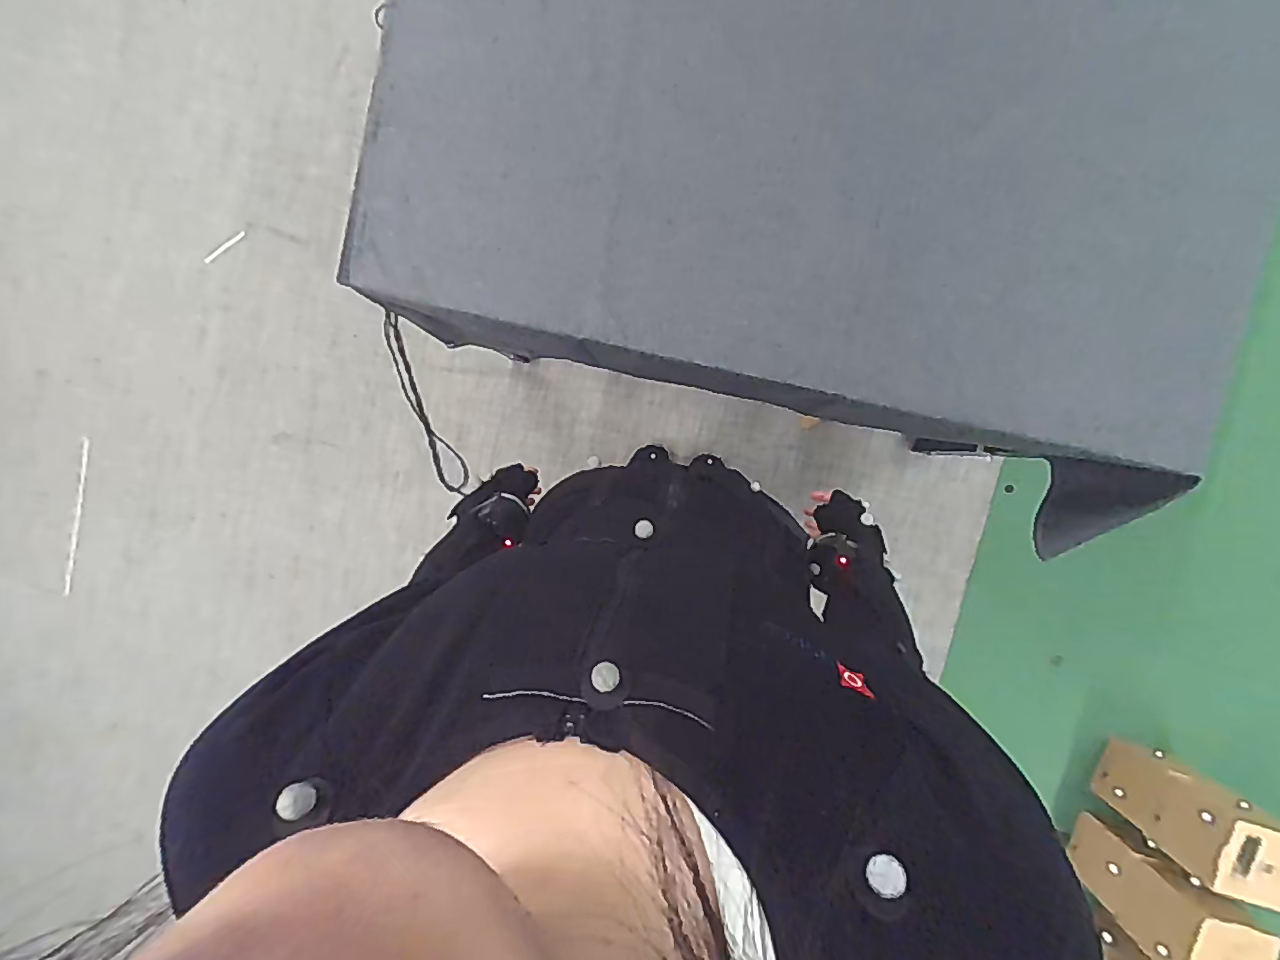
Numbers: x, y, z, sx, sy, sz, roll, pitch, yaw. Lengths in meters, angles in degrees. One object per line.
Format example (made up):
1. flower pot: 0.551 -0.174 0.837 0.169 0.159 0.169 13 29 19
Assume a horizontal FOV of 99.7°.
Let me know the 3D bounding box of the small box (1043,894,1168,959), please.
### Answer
1. small box: 1.206 1.228 1.400 0.179 0.176 0.168 14 95 4

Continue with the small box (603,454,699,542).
1. small box: 0.024 0.045 1.431 0.168 0.176 0.179 -42 74 16

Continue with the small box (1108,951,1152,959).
1. small box: 1.193 1.238 1.237 0.179 0.176 0.168 13 95 3

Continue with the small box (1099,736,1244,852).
1. small box: 1.326 0.779 1.365 0.179 0.176 0.168 18 95 3
